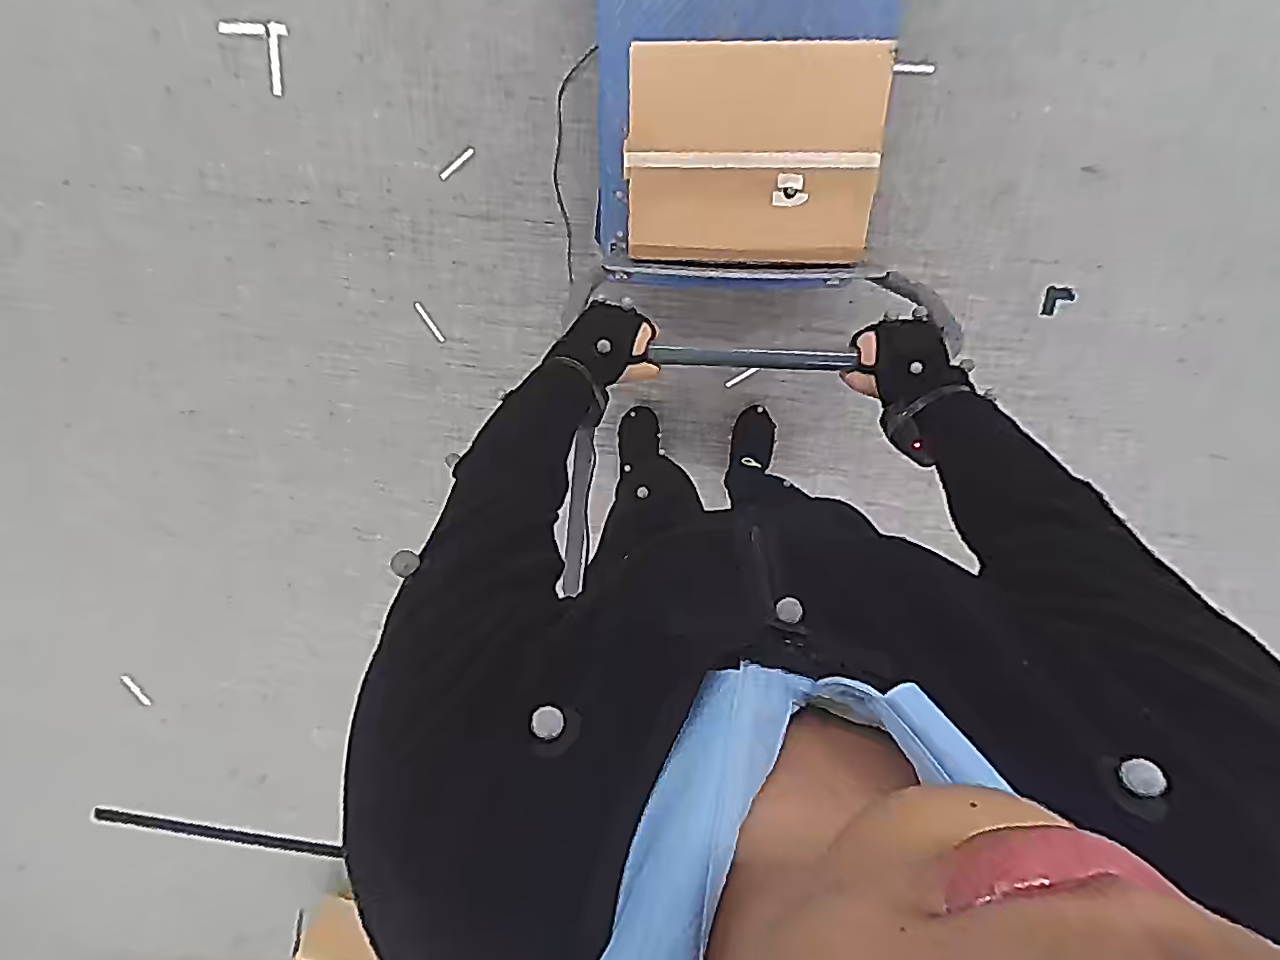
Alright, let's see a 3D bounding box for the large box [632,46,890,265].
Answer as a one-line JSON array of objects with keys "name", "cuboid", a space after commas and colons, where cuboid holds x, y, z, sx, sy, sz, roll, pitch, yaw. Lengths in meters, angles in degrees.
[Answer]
[{"name": "large box", "cuboid": [0.195, -0.588, 1.034, 0.408, 0.320, 0.320, 2, 115, 3]}]
